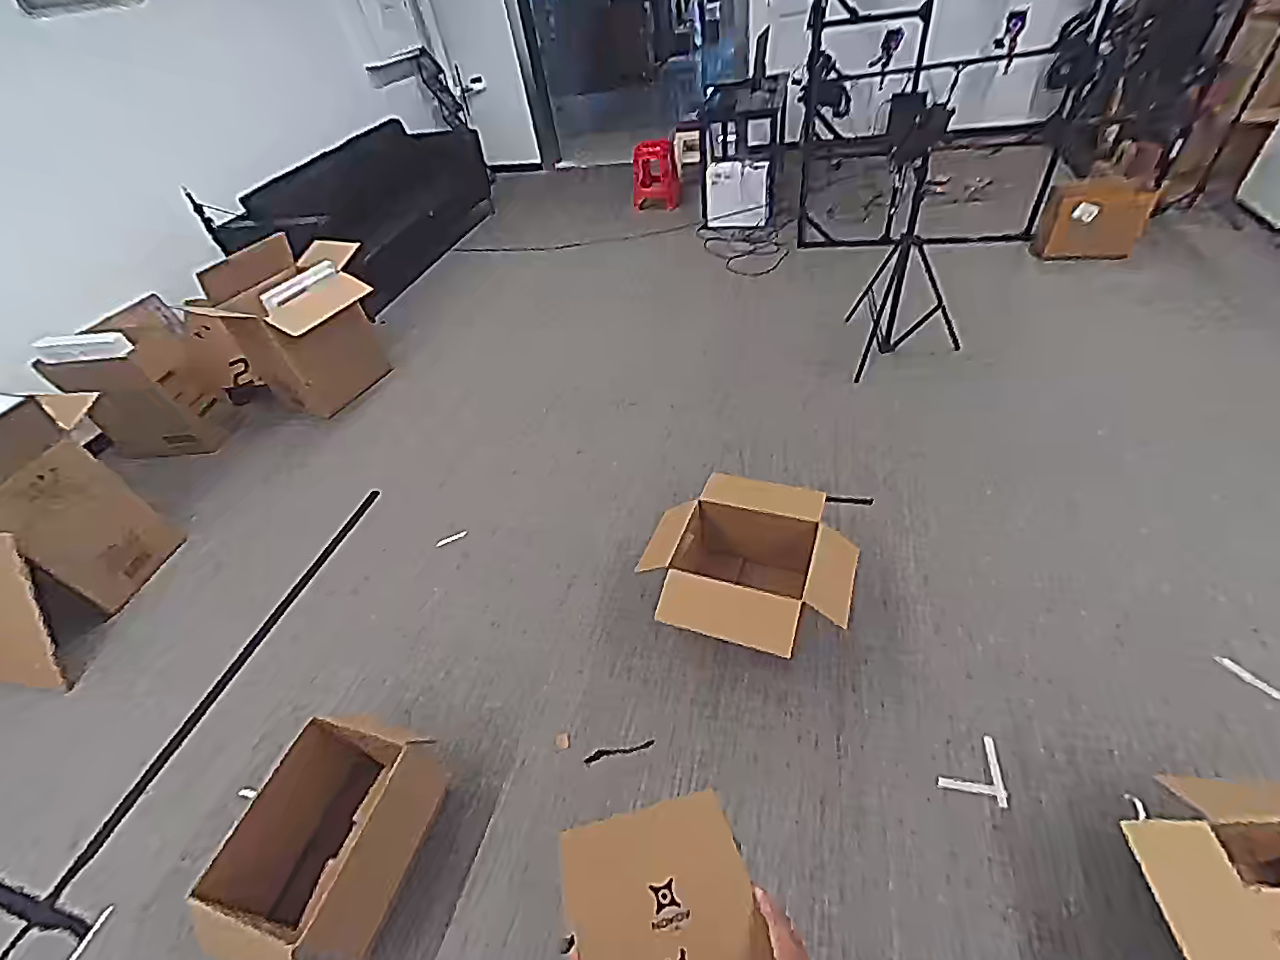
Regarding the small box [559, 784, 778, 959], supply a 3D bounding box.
[{"bbox_3d":[0.016,0.443,0.527,0.168,0.176,0.179,-8,35,-15],"label":"small box"}]
